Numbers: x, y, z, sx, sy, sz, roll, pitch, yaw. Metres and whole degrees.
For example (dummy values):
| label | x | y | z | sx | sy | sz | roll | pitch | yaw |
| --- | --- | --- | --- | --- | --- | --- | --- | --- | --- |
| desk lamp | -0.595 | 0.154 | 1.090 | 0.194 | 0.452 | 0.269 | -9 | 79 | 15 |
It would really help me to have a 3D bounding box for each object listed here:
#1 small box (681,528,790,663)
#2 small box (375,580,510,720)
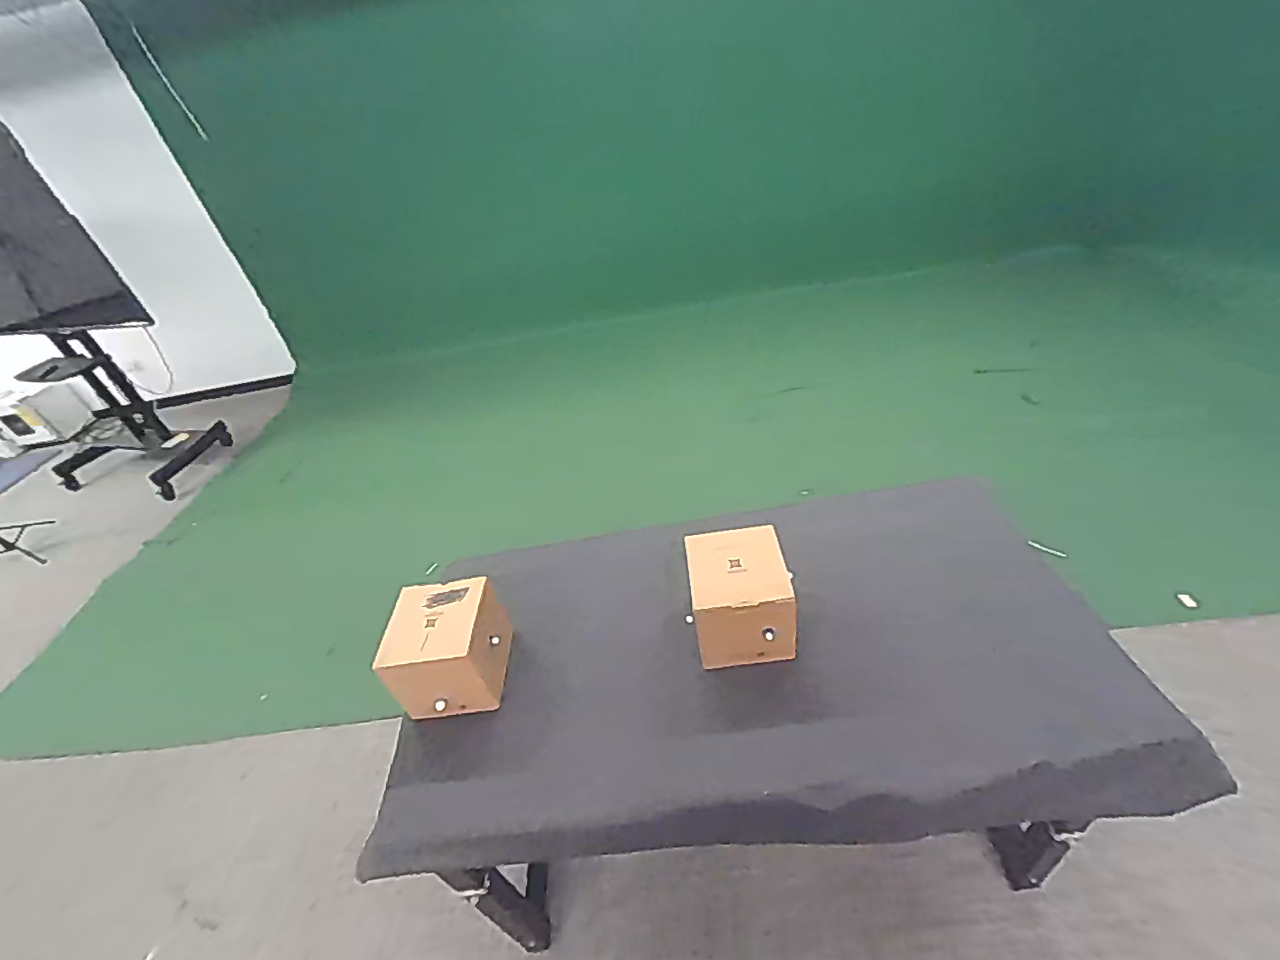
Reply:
| label | x | y | z | sx | sy | sz | roll | pitch | yaw |
| --- | --- | --- | --- | --- | --- | --- | --- | --- | --- |
| small box | 0.172 | 0.216 | 0.987 | 0.168 | 0.176 | 0.179 | -8 | 37 | 3 |
| small box | -0.349 | 0.312 | 0.998 | 0.168 | 0.176 | 0.179 | -9 | 38 | 4 |
